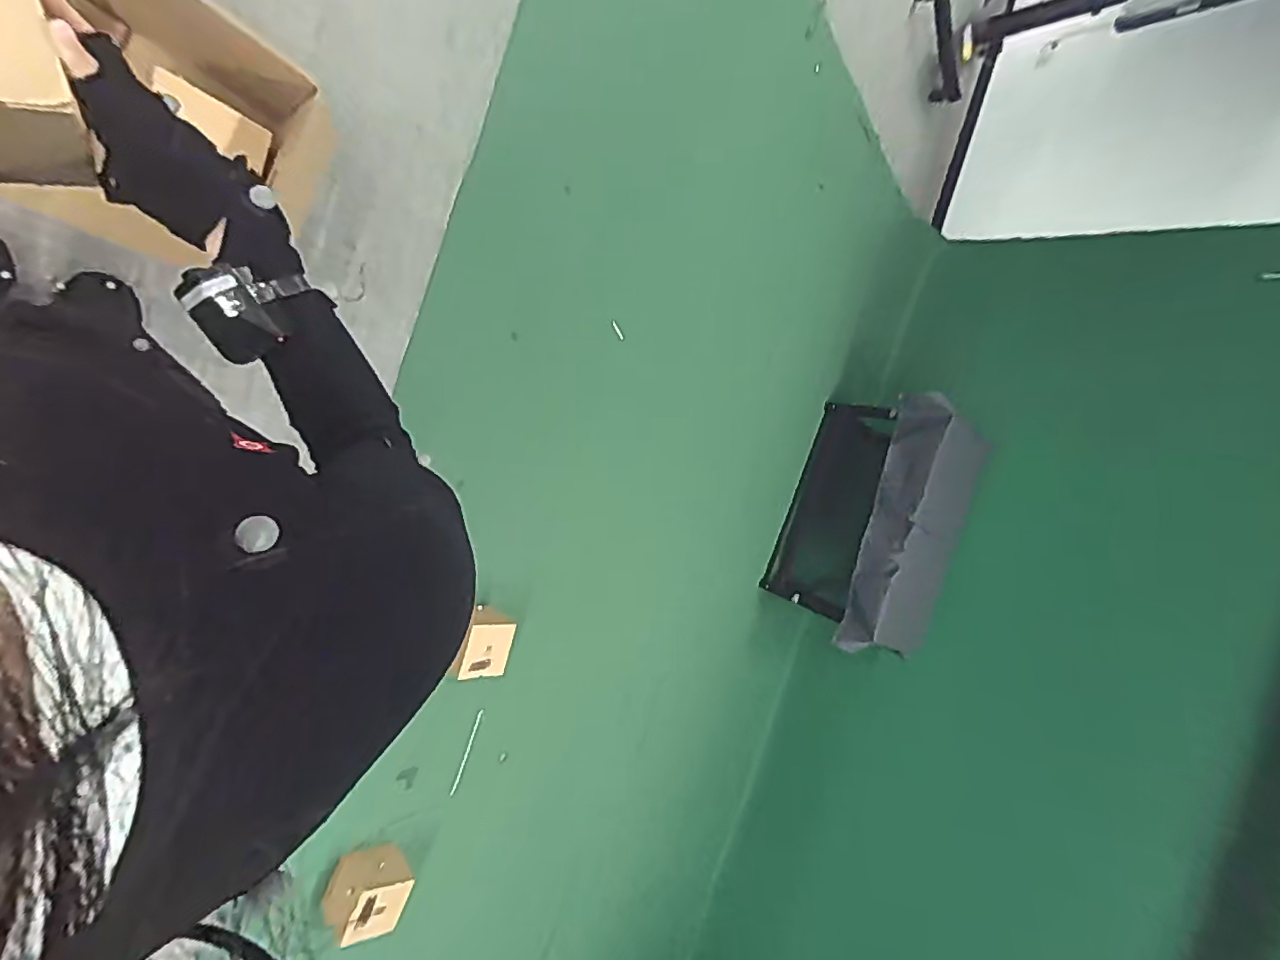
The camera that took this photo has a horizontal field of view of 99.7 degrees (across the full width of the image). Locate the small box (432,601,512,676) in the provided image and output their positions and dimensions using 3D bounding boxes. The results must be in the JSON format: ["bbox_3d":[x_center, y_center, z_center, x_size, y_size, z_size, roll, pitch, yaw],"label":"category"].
[{"bbox_3d":[-0.546,0.506,1.742,0.168,0.176,0.179,15,91,-48],"label":"small box"}]

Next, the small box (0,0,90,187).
[{"bbox_3d":[-0.443,-0.282,0.293,0.168,0.176,0.179,-20,111,-38],"label":"small box"}]
